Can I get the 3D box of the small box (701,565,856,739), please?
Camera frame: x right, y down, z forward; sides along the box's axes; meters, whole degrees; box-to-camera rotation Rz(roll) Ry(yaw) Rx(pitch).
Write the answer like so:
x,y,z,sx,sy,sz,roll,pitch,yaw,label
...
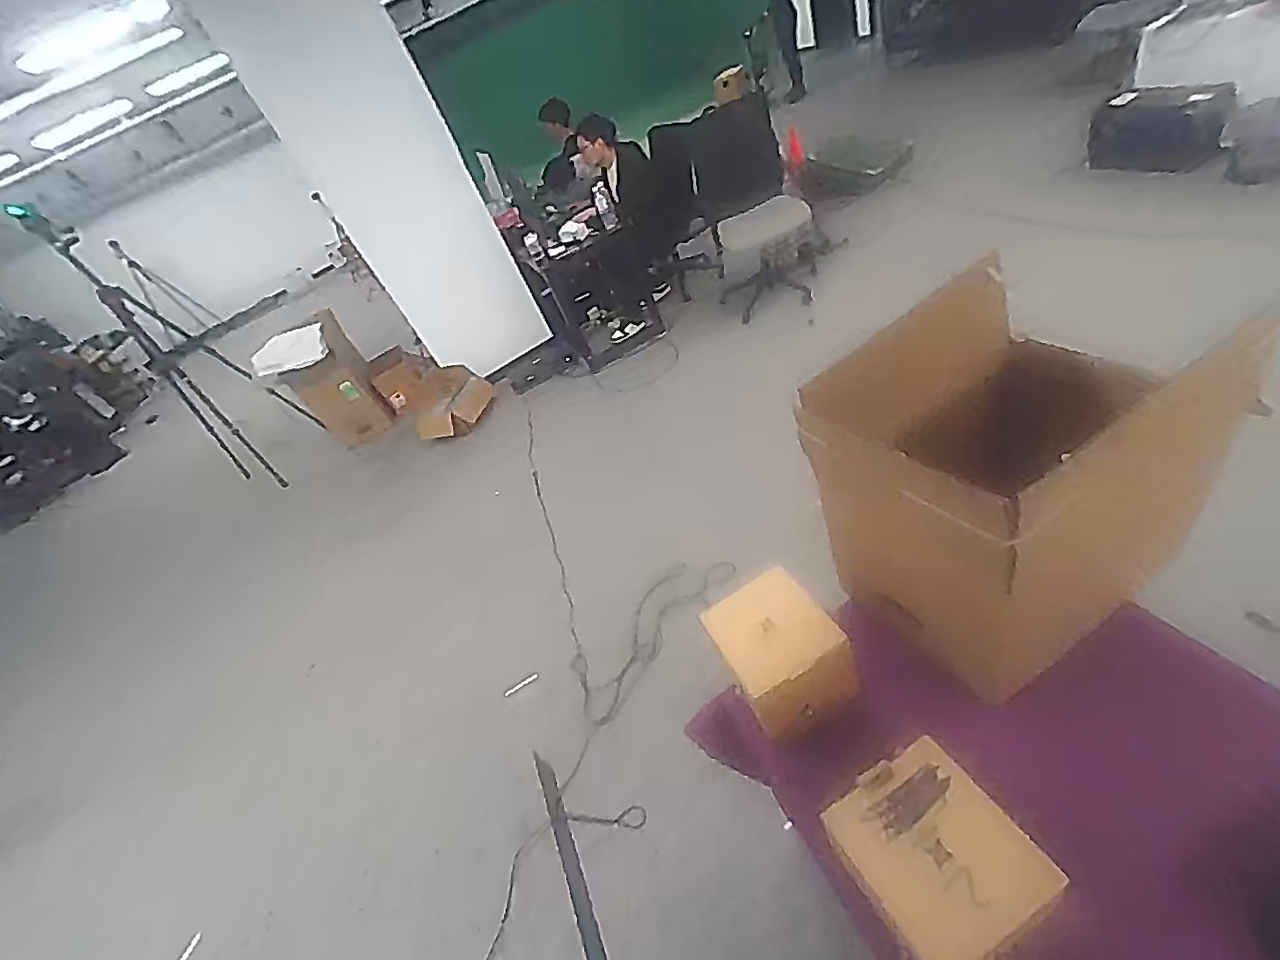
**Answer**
x,y,z,sx,sy,sz,roll,pitch,yaw,label
0.228,0.281,0.885,0.168,0.176,0.179,-31,40,-5,small box
